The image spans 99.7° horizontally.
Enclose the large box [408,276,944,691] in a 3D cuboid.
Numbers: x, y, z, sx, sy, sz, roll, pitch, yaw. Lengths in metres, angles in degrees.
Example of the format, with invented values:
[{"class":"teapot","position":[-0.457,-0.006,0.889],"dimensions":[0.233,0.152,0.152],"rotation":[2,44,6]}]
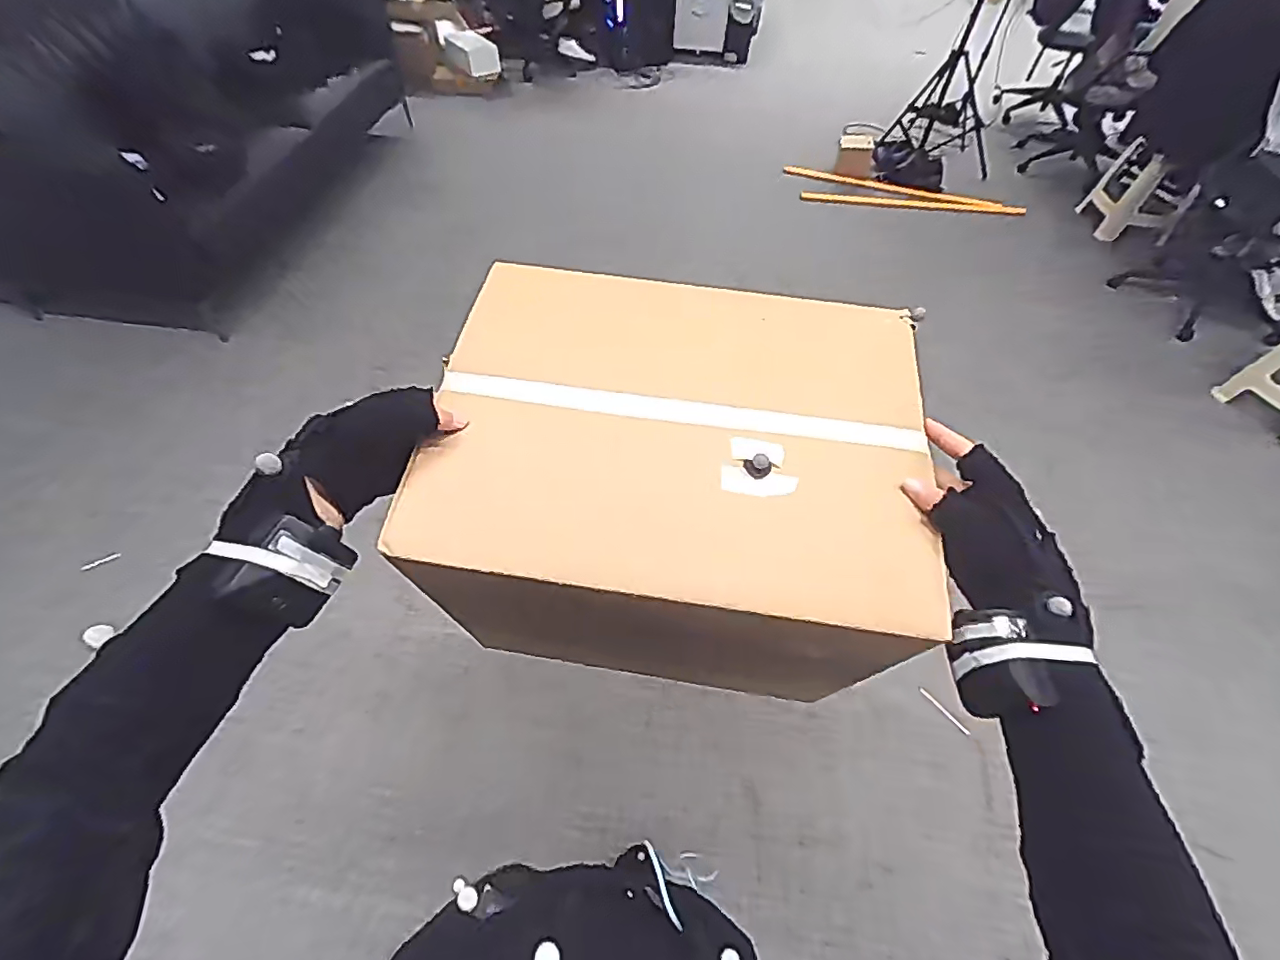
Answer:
[{"class":"large box","position":[0.036,0.022,0.594],"dimensions":[0.408,0.320,0.320],"rotation":[8,61,3]}]
